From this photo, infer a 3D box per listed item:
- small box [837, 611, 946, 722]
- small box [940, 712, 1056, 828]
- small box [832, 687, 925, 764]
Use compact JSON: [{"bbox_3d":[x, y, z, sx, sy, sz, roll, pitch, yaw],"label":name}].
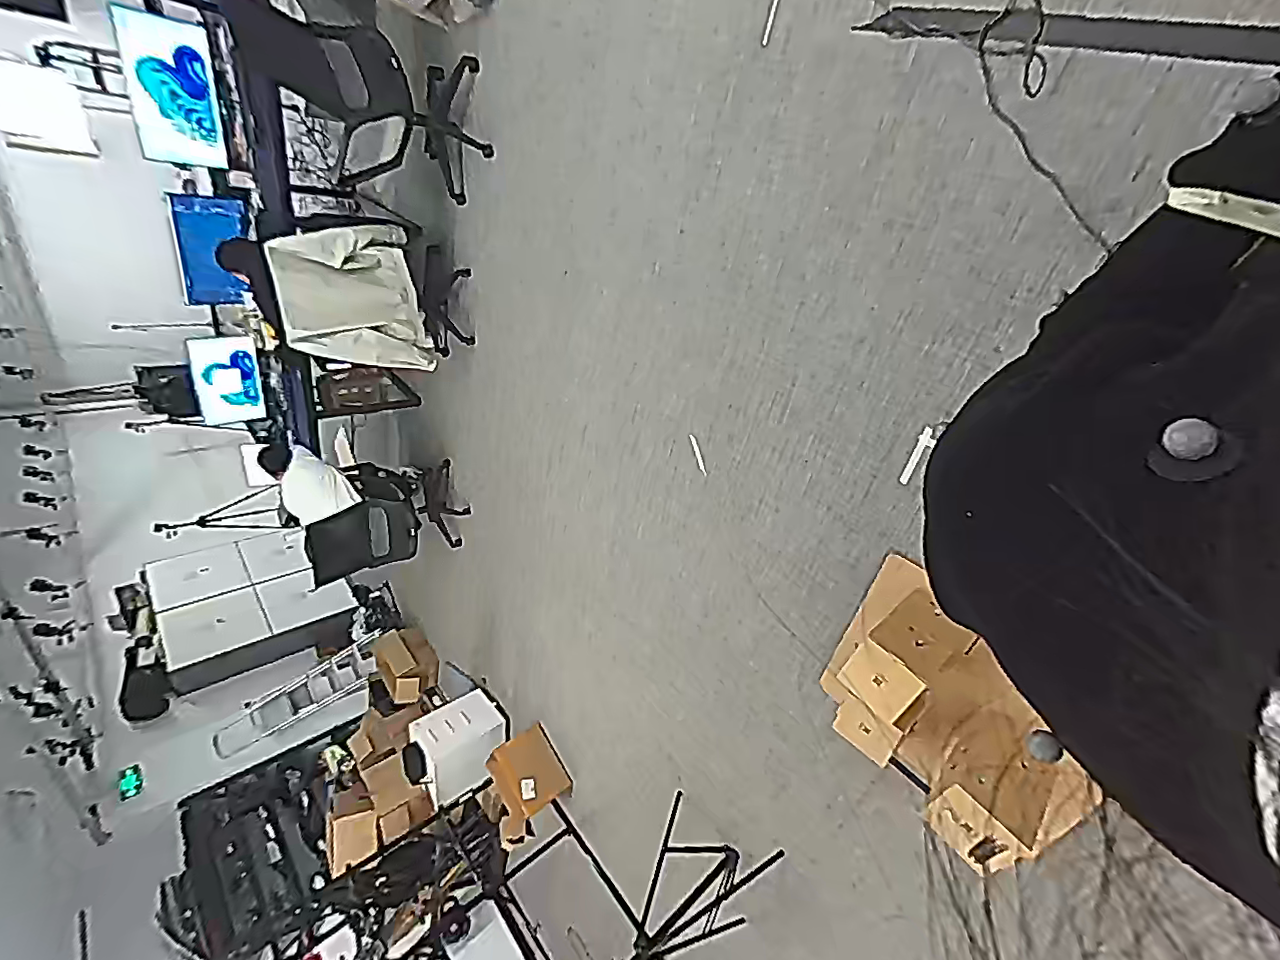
[{"bbox_3d":[0.647,0.471,1.387,0.168,0.176,0.179,41,129,32],"label":"small box"},{"bbox_3d":[0.936,0.750,1.410,0.179,0.176,0.168,44,131,27],"label":"small box"},{"bbox_3d":[0.721,0.706,1.638,0.179,0.176,0.168,33,127,37],"label":"small box"}]
